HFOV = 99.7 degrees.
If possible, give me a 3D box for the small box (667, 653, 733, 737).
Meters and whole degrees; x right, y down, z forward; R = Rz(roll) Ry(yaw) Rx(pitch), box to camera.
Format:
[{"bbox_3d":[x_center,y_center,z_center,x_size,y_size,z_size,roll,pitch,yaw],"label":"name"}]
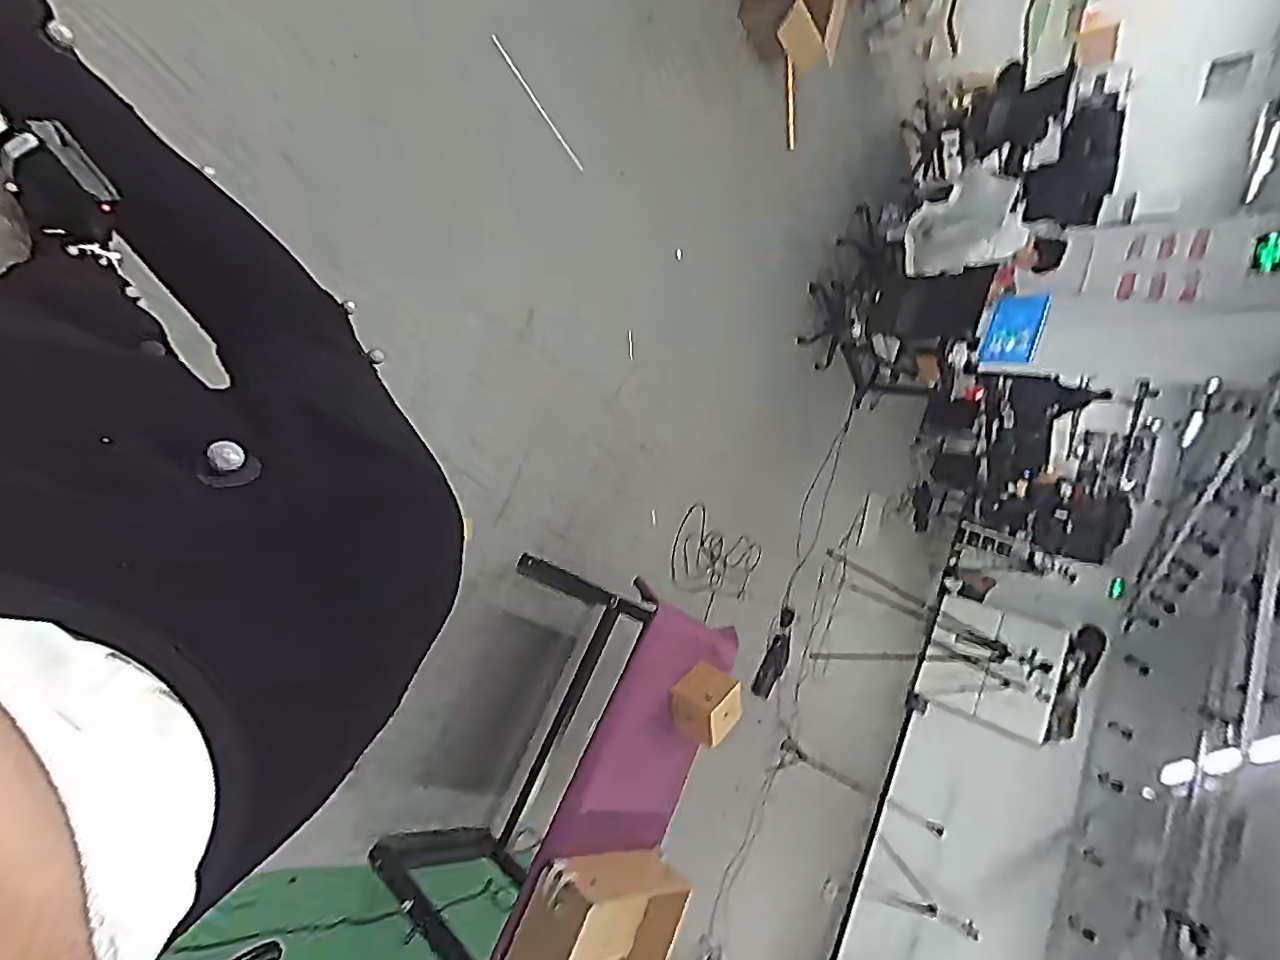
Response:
[{"bbox_3d":[0.203,0.734,1.866,0.179,0.176,0.168,-29,123,-42],"label":"small box"}]
